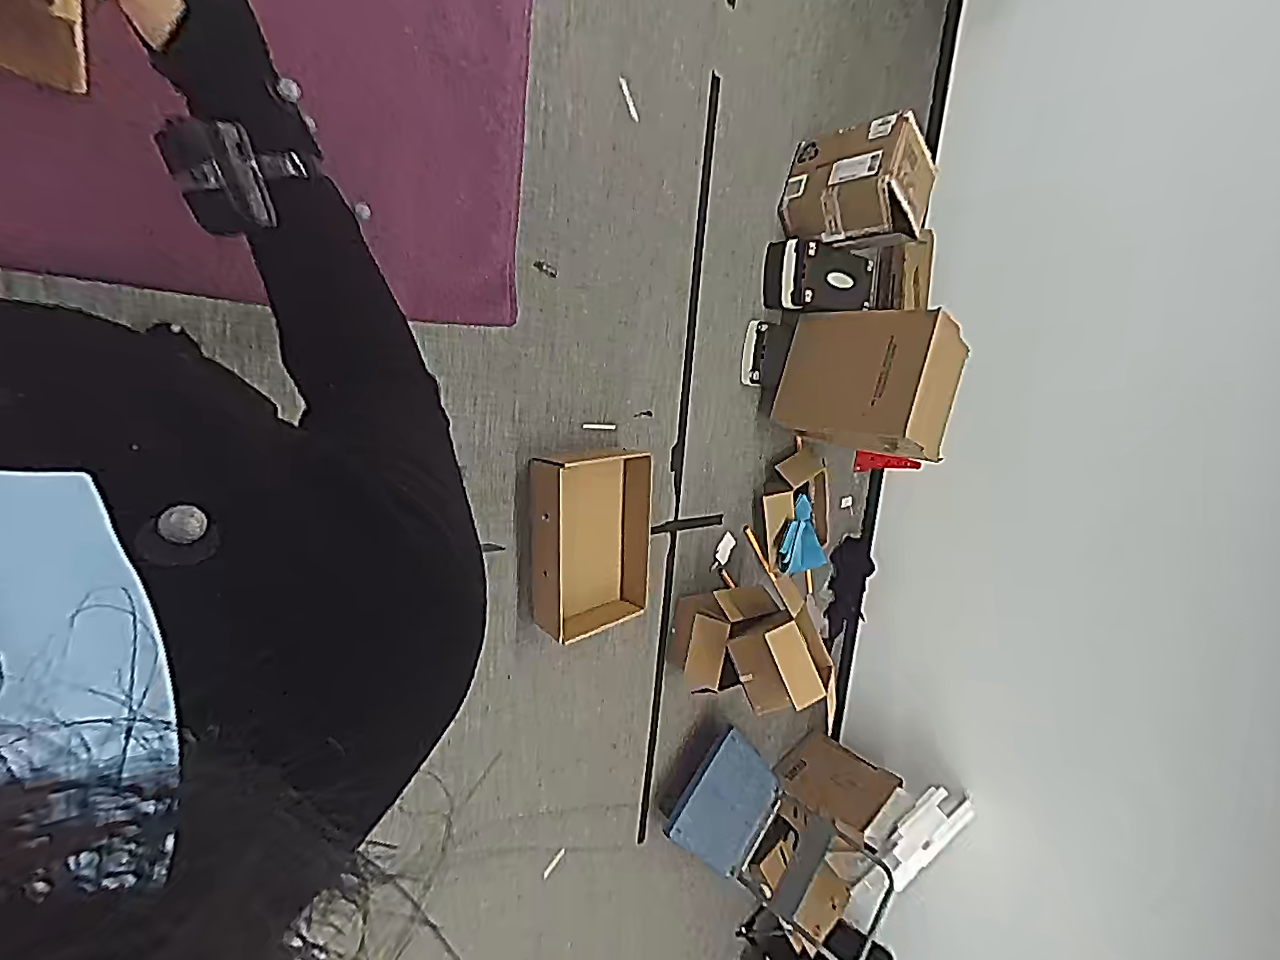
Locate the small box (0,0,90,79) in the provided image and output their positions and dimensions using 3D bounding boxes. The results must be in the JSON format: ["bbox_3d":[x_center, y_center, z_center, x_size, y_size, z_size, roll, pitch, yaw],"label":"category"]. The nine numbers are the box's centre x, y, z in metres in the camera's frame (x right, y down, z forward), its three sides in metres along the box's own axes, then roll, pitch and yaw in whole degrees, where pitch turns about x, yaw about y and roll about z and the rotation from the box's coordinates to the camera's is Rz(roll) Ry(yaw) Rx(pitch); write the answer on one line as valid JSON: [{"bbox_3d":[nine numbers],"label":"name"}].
[{"bbox_3d":[-0.528,-0.434,0.394,0.179,0.176,0.168,-3,103,-43],"label":"small box"}]
